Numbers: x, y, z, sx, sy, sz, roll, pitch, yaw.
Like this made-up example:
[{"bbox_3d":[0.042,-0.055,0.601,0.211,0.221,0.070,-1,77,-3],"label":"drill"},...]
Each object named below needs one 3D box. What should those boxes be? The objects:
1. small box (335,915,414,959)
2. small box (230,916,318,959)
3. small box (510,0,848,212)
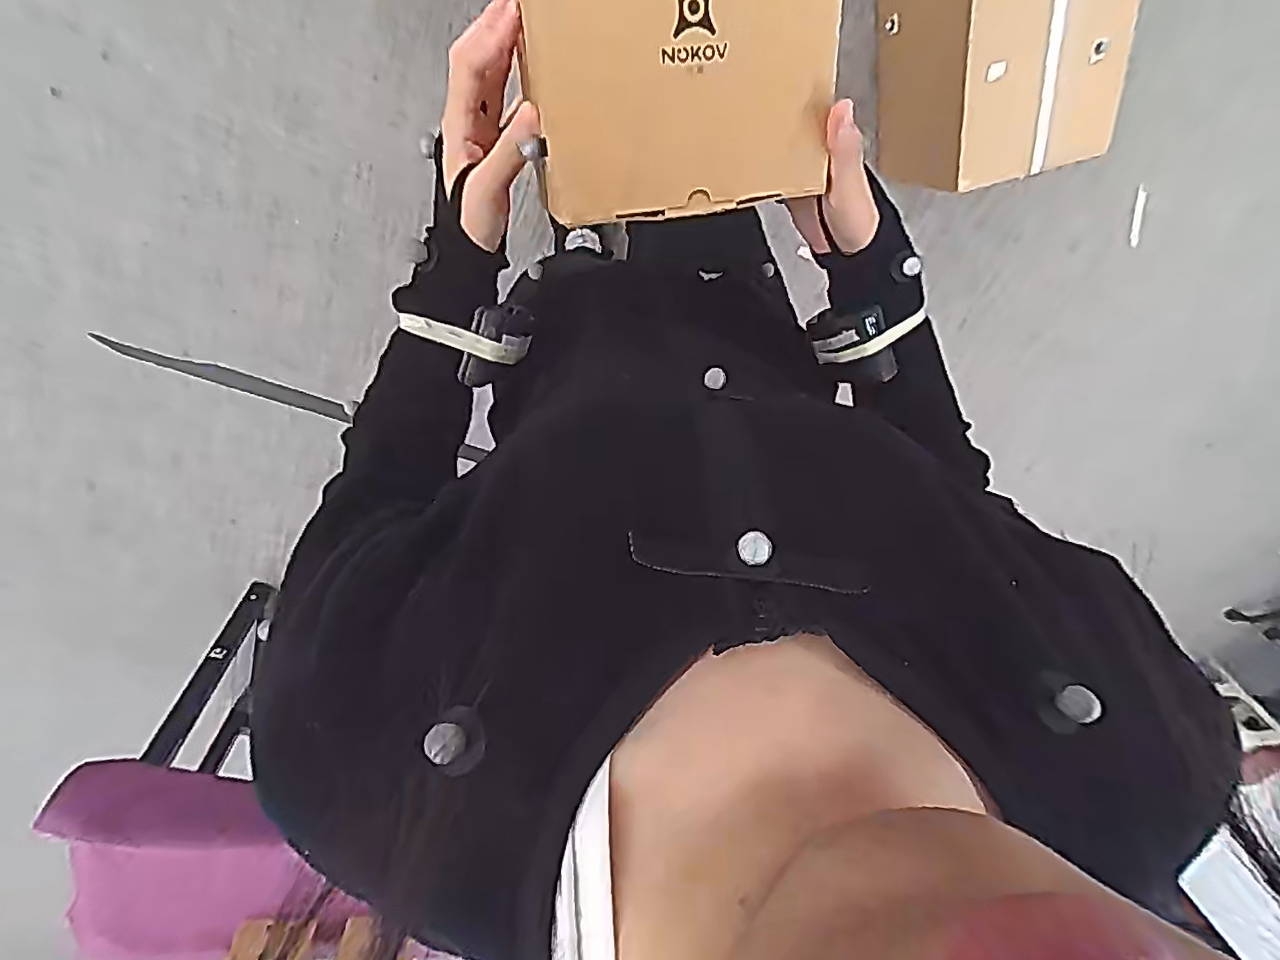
[{"bbox_3d":[-0.682,1.233,1.364,0.168,0.176,0.179,18,118,-20],"label":"small box"},{"bbox_3d":[-0.897,1.183,1.294,0.168,0.176,0.179,18,117,-21],"label":"small box"},{"bbox_3d":[0.011,-0.279,0.338,0.168,0.176,0.179,-12,123,-8],"label":"small box"}]
